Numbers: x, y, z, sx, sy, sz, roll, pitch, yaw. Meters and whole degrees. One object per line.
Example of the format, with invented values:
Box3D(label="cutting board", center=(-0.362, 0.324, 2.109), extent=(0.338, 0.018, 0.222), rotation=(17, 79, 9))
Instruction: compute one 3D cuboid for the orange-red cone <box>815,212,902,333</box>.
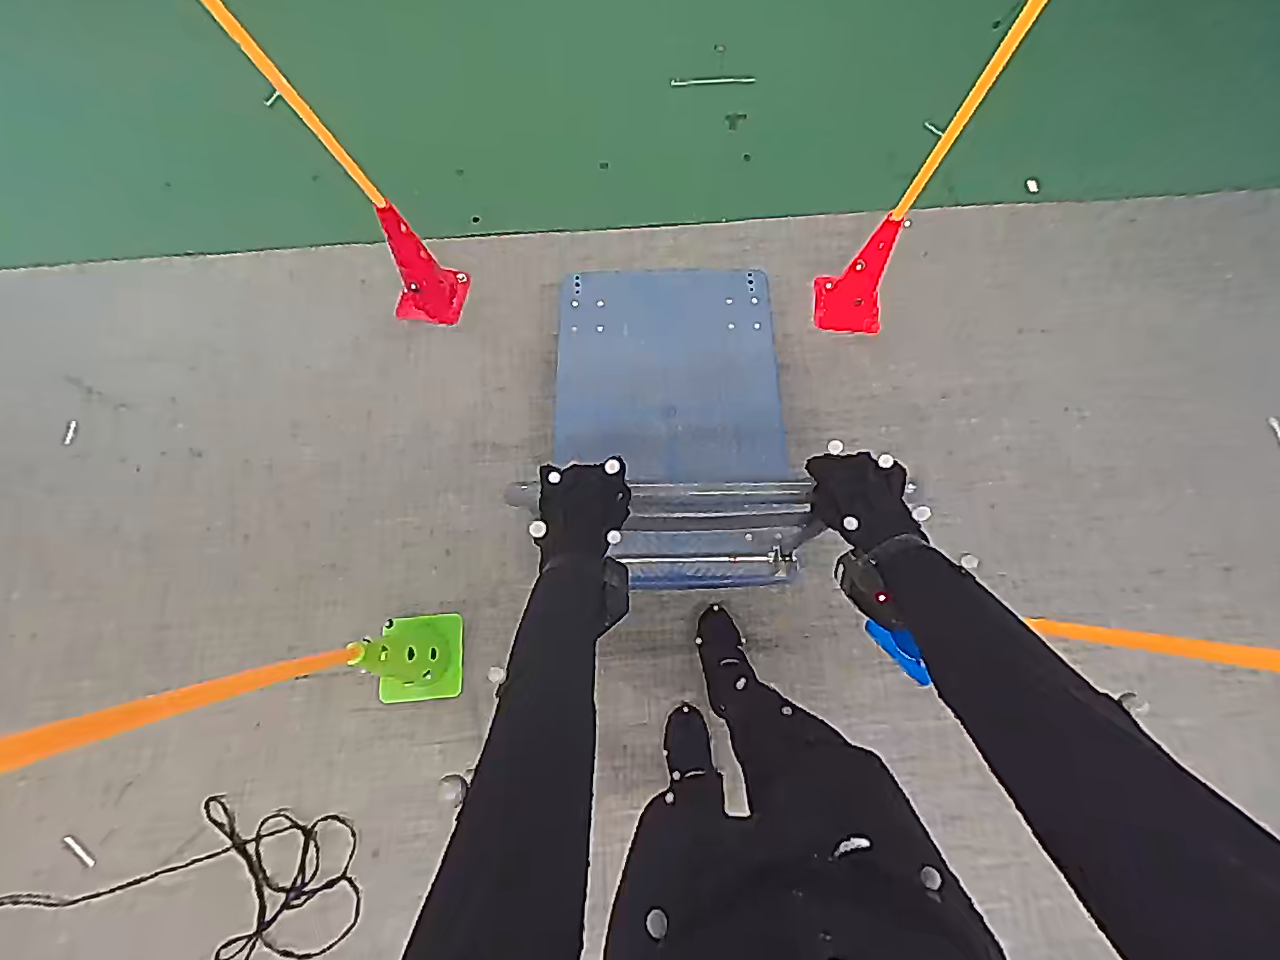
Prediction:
Box3D(label="orange-red cone", center=(0.643, -0.601, 1.520), extent=(0.198, 0.360, 0.199), rotation=(6, 72, 3))
